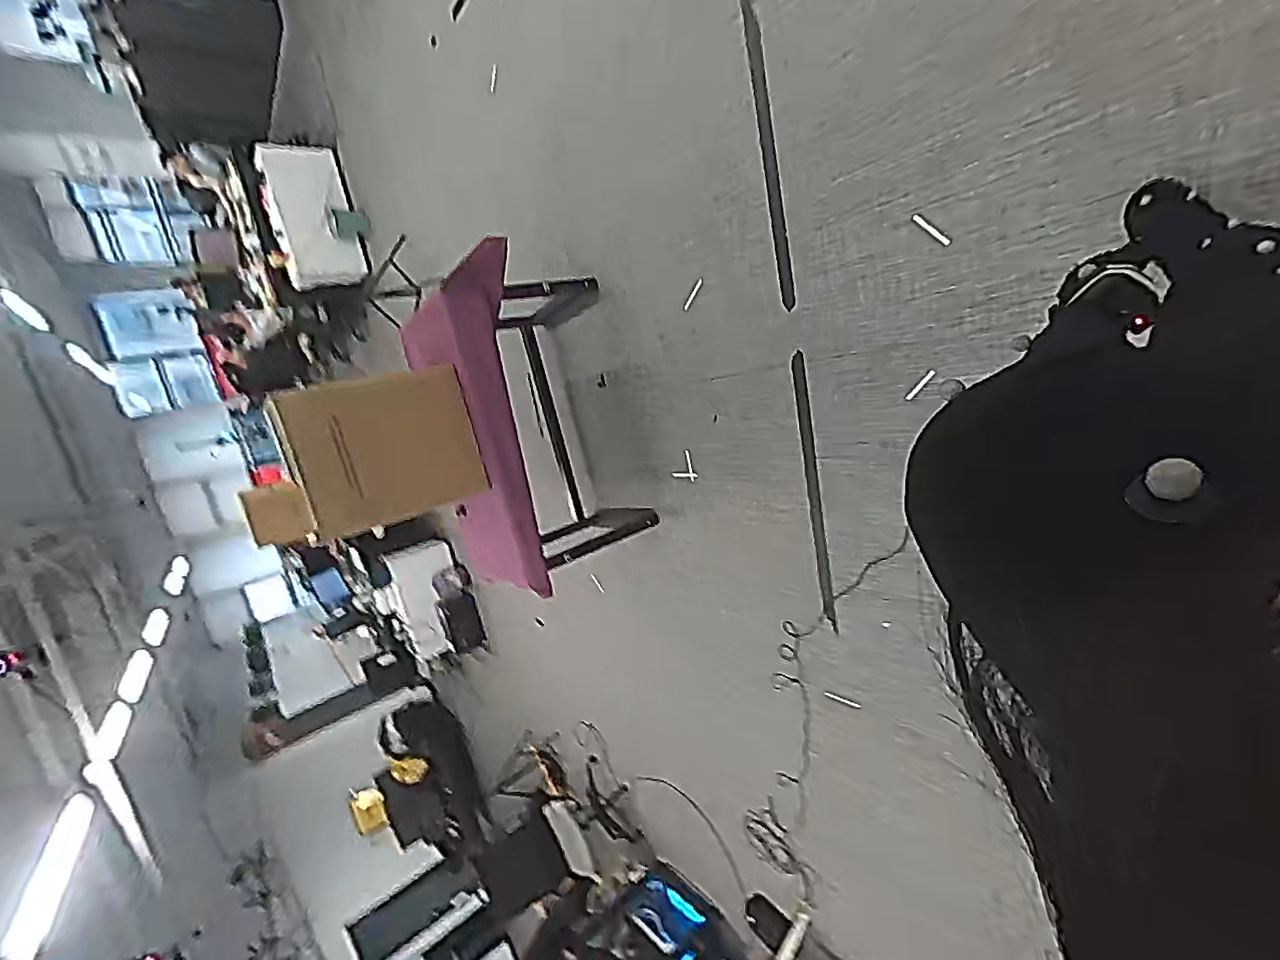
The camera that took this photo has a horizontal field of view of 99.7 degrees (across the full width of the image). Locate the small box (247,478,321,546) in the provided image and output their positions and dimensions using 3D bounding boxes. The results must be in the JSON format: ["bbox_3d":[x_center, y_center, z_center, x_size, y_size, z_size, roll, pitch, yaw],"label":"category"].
[{"bbox_3d":[-1.243,0.104,1.891,0.168,0.176,0.179,17,118,47],"label":"small box"}]
